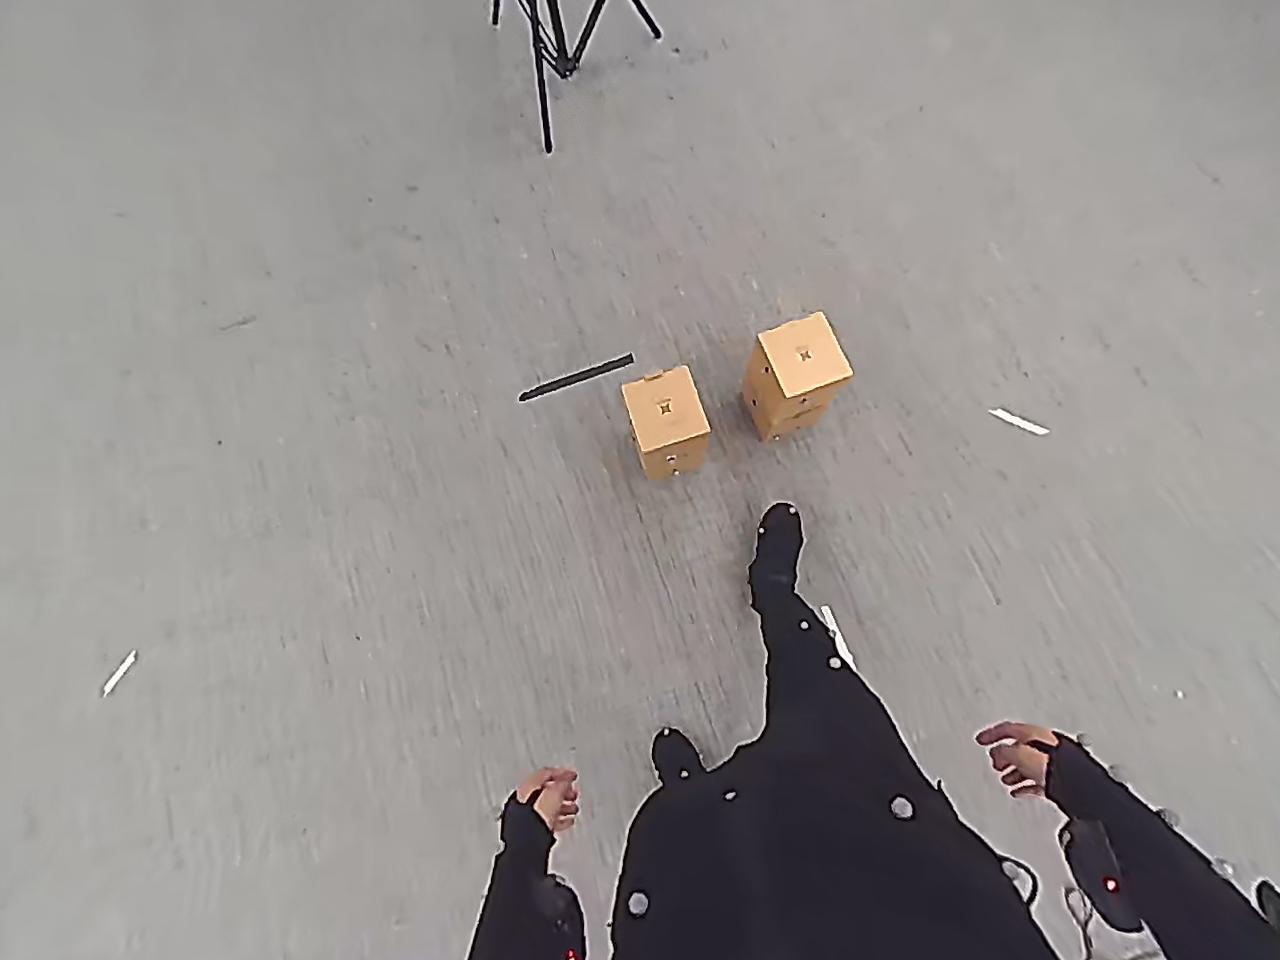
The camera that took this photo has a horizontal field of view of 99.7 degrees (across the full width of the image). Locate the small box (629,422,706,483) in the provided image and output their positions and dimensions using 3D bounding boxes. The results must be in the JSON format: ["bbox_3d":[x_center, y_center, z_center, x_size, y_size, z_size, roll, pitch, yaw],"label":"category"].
[{"bbox_3d":[0.069,-0.110,1.460,0.168,0.176,0.179,-18,77,-1],"label":"small box"}]

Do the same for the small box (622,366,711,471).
[{"bbox_3d":[0.062,-0.142,1.299,0.168,0.176,0.179,-18,76,0],"label":"small box"}]

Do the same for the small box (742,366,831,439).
[{"bbox_3d":[0.389,-0.225,1.467,0.168,0.176,0.179,-21,75,-2],"label":"small box"}]

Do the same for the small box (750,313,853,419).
[{"bbox_3d":[0.382,-0.264,1.309,0.168,0.176,0.179,-20,75,-1],"label":"small box"}]
